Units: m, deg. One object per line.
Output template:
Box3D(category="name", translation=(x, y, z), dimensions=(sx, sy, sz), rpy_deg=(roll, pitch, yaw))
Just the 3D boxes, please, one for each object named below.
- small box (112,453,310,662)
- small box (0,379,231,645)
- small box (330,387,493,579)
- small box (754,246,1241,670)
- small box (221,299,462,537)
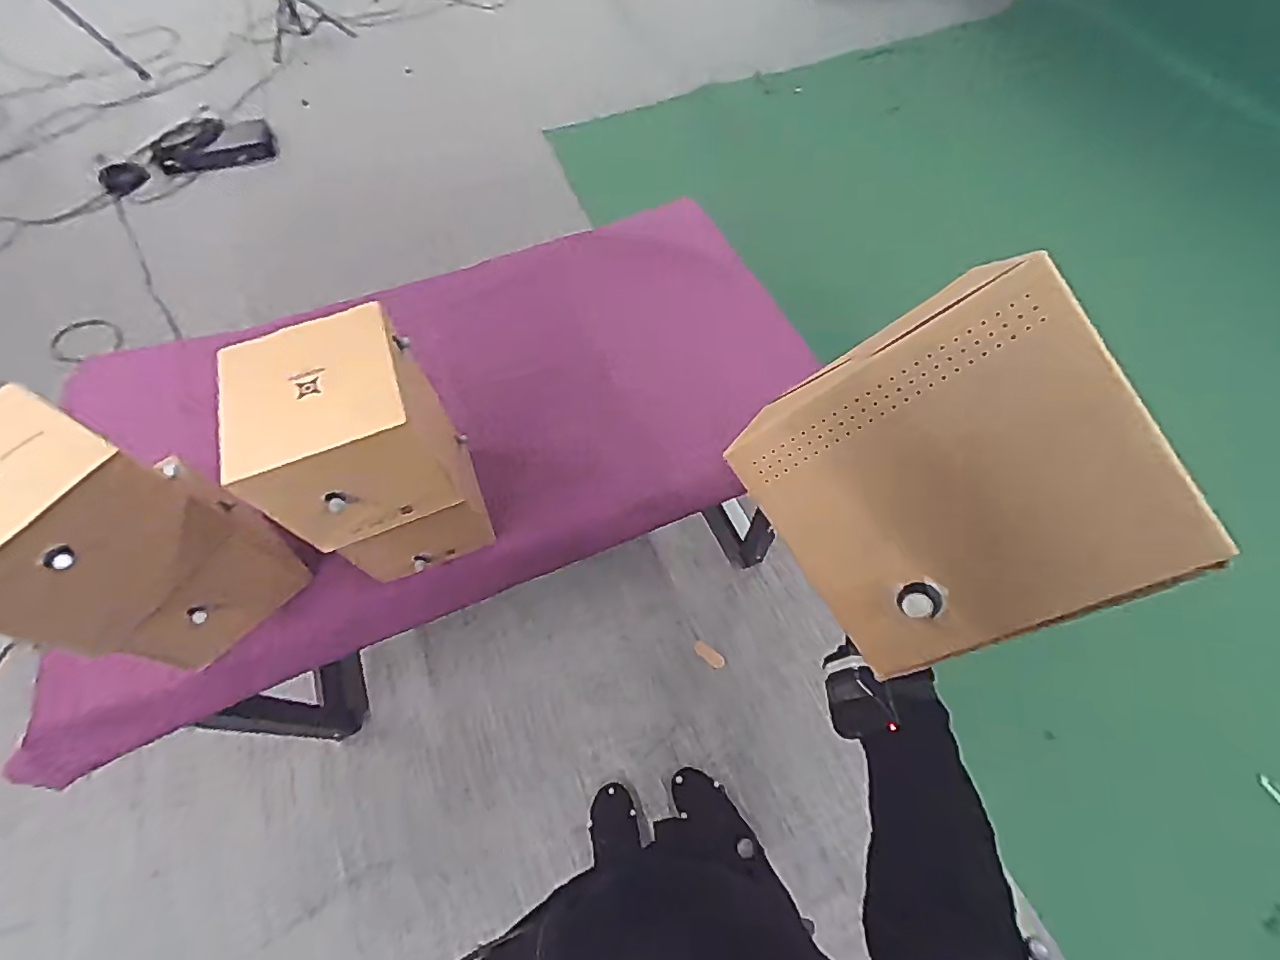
Box3D(category="small box", translation=(-0.578, 0.106, 0.692), dimensions=(0.168, 0.176, 0.179), rpy_deg=(38, 68, 19))
Box3D(category="small box", translation=(-0.576, 0.039, 0.540), dimensions=(0.168, 0.176, 0.179), rpy_deg=(26, 64, 15))
Box3D(category="small box", translation=(-0.318, 0.009, 0.742), dimensions=(0.168, 0.176, 0.179), rpy_deg=(-21, 63, -9))
Box3D(category="small box", translation=(0.190, -0.017, 0.349), dimensions=(0.179, 0.168, 0.176), rpy_deg=(-33, 93, 27))
Box3D(category="small box", translation=(-0.314, -0.056, 0.592), dimensions=(0.168, 0.176, 0.179), rpy_deg=(-21, 61, -9))
